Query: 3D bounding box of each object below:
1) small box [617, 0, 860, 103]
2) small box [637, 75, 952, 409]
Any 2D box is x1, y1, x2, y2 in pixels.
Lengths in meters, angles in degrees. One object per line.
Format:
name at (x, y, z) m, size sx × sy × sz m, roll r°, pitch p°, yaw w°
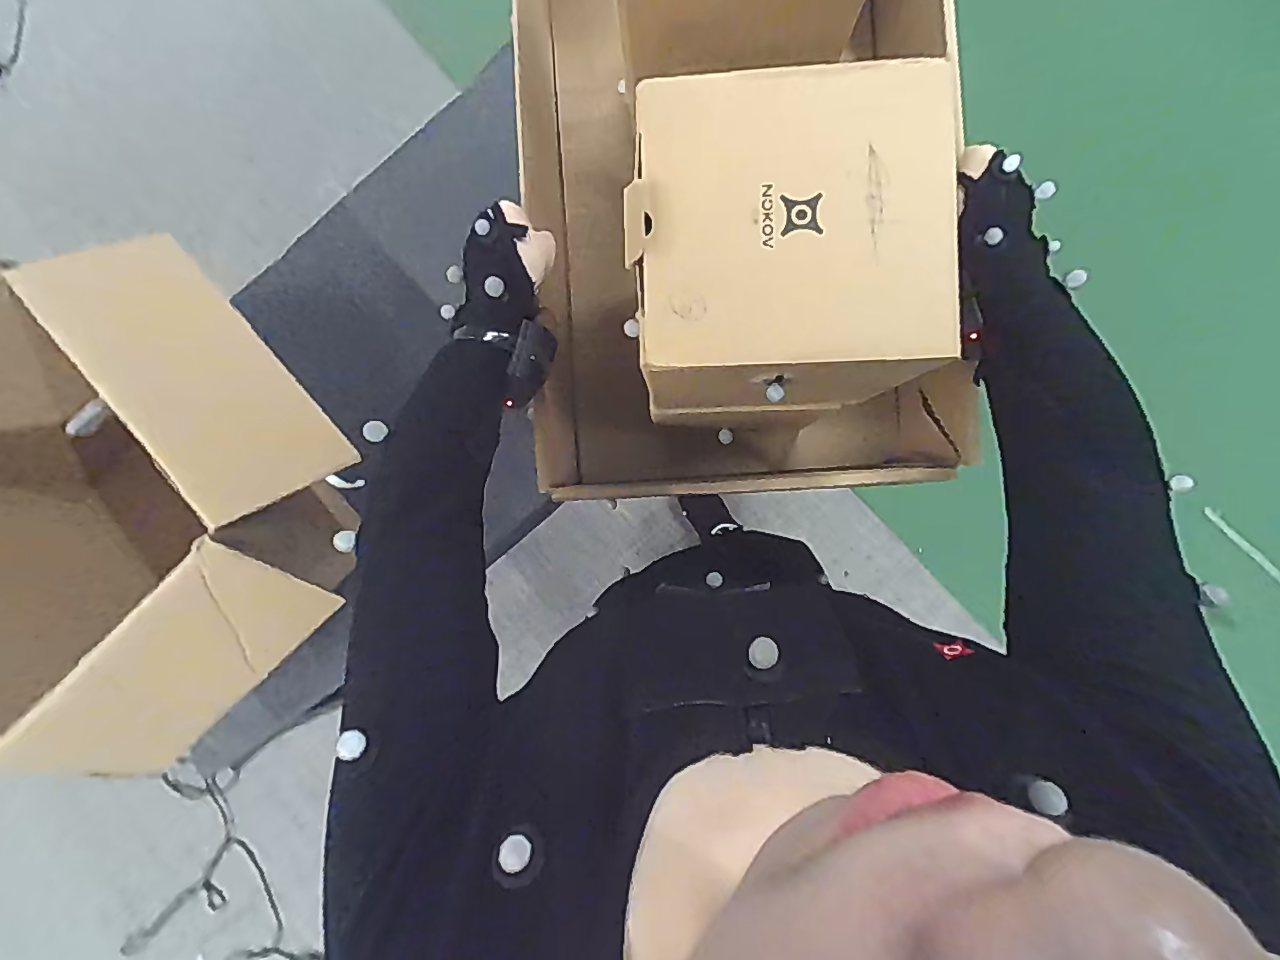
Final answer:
small box at (0.070, -0.402, 0.388) m, size 0.179 × 0.176 × 0.168 m, roll 0°, pitch 92°, yaw 3°
small box at (0.092, -0.143, 0.386) m, size 0.179 × 0.176 × 0.168 m, roll -1°, pitch 90°, yaw 3°
